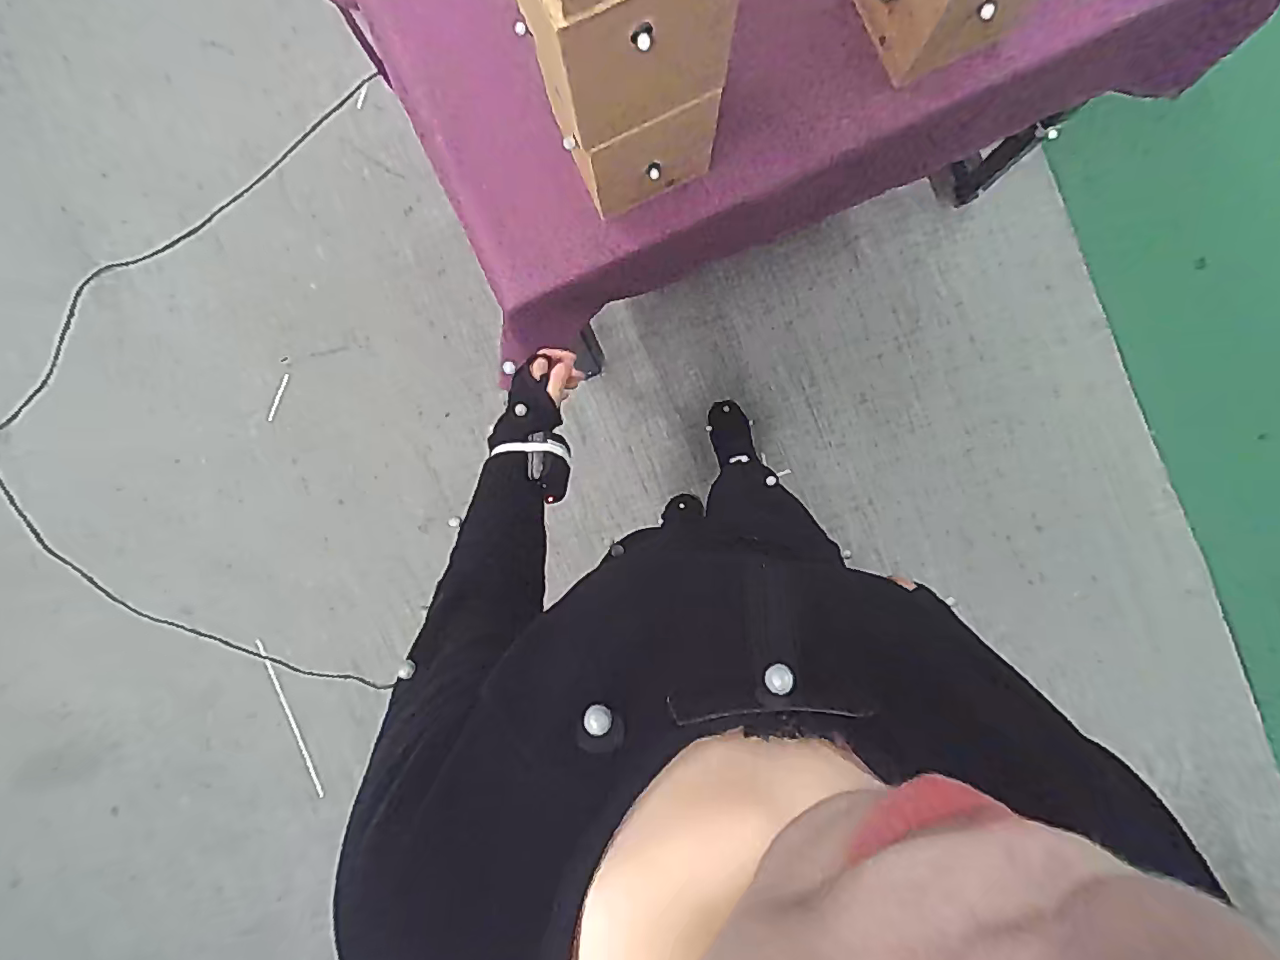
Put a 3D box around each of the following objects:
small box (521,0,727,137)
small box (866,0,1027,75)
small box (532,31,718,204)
[{"bbox_3d":[-0.022,-0.478,0.518,0.179,0.176,0.168,-25,90,2],"label":"small box"},{"bbox_3d":[0.396,-0.657,0.664,0.179,0.176,0.168,-25,90,3],"label":"small box"},{"bbox_3d":[-0.015,-0.482,0.682,0.168,0.176,0.179,-24,89,2],"label":"small box"}]
